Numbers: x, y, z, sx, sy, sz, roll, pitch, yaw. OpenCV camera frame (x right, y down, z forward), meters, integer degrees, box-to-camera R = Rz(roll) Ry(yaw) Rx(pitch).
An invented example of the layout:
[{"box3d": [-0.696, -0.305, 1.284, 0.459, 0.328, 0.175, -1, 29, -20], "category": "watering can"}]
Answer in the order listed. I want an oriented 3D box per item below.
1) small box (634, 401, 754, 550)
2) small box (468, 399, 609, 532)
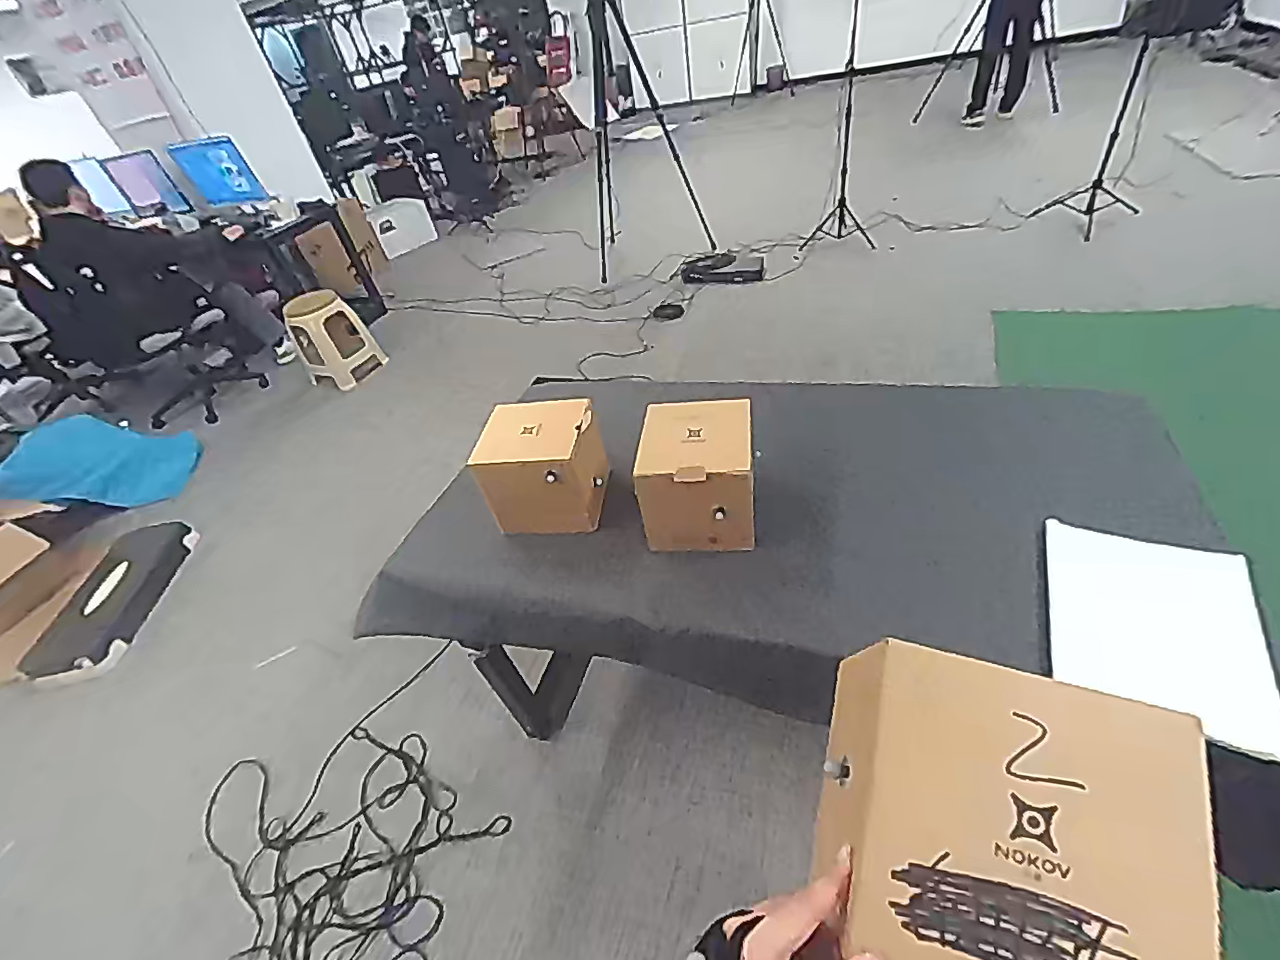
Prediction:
[{"box3d": [0.094, -0.004, 0.857, 0.168, 0.176, 0.179, -1, 41, 12], "category": "small box"}, {"box3d": [-0.164, -0.022, 0.940, 0.179, 0.176, 0.168, -2, 41, 10], "category": "small box"}]
